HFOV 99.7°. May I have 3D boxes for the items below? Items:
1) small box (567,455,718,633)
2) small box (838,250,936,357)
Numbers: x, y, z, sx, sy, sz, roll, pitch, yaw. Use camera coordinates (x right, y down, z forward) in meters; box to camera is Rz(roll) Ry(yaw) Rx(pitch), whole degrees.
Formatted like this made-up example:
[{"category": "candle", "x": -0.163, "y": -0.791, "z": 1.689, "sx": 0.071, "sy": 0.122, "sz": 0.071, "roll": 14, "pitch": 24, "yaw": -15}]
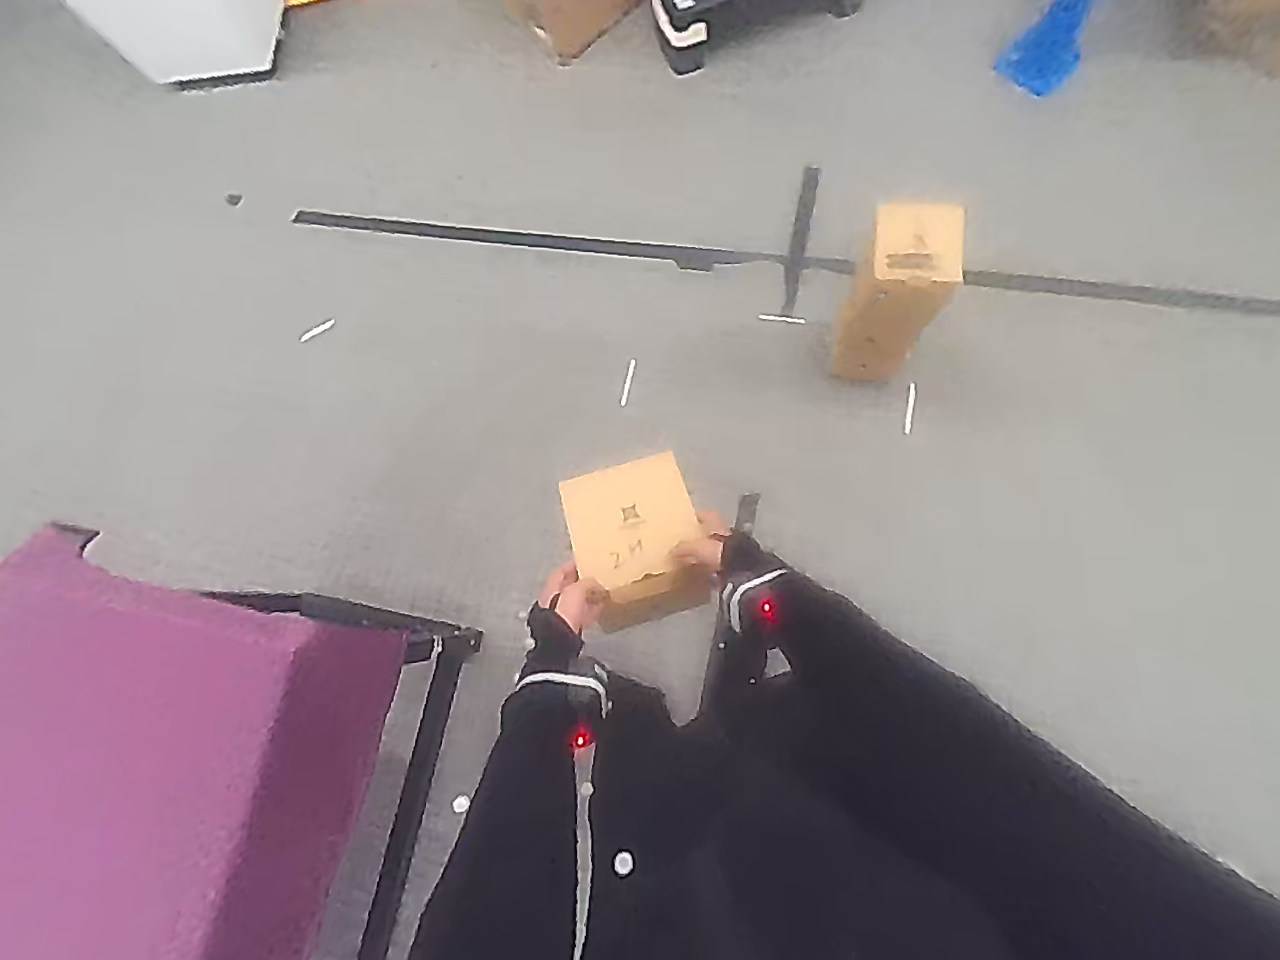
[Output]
[{"category": "small box", "x": 0.004, "y": 0.096, "z": 0.771, "sx": 0.168, "sy": 0.176, "sz": 0.179, "roll": -16, "pitch": 60, "yaw": -2}, {"category": "small box", "x": 0.592, "y": -0.424, "z": 1.315, "sx": 0.168, "sy": 0.176, "sz": 0.179, "roll": 12, "pitch": 80, "yaw": 10}]
